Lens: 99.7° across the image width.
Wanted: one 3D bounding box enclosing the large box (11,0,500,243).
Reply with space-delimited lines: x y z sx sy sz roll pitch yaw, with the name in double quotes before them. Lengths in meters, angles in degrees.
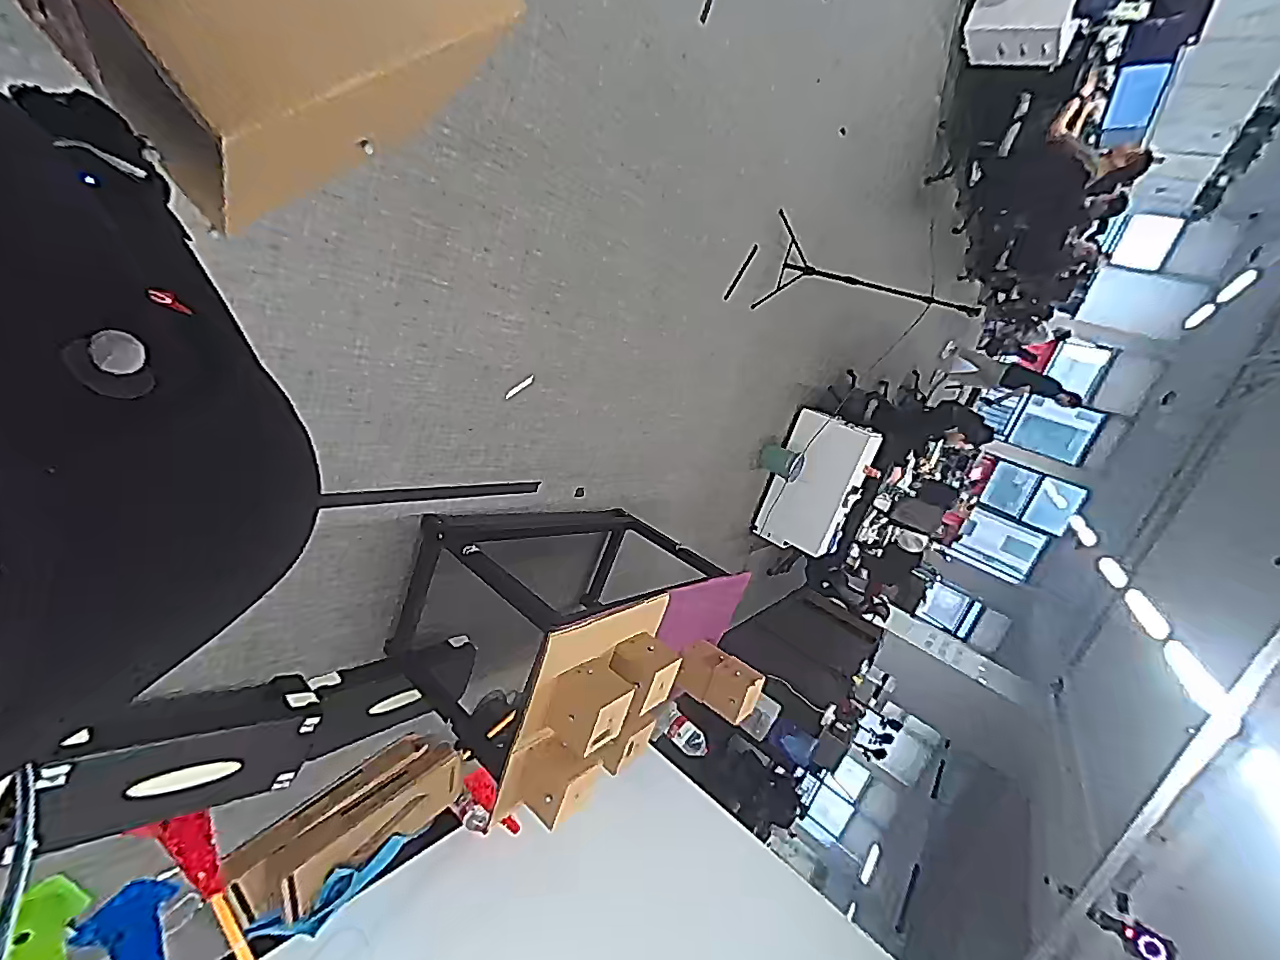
"large box" -0.408 -0.493 0.545 0.320 0.408 0.320 -42 122 -22
